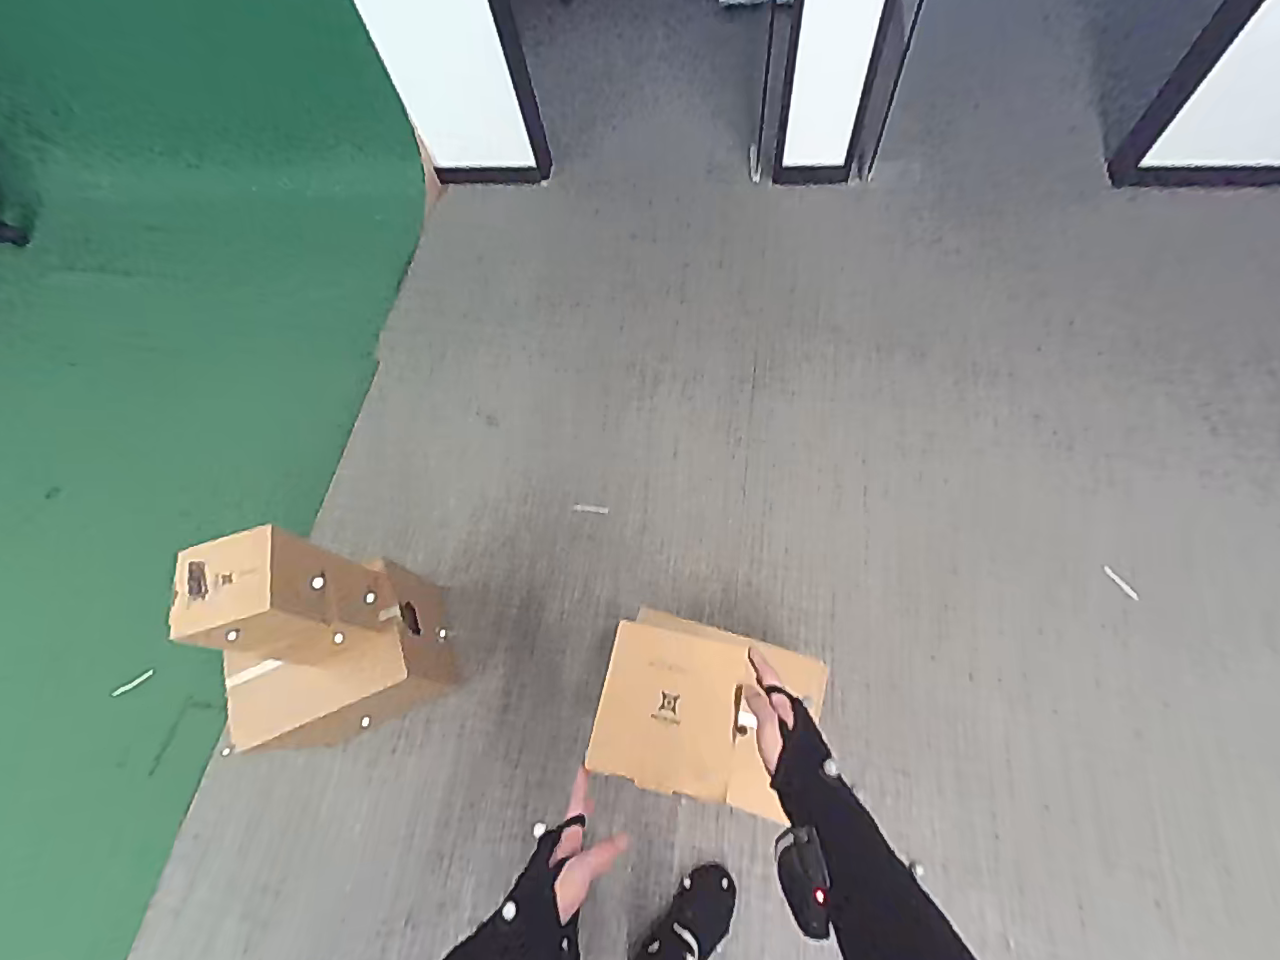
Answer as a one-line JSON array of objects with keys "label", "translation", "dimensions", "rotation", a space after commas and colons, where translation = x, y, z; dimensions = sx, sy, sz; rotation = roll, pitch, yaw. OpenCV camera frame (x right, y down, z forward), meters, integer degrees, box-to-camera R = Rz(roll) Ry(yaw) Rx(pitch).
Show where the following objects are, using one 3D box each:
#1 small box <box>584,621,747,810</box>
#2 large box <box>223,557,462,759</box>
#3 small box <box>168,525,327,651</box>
[{"label": "small box", "translation": [0.040, 0.305, 0.711], "dimensions": [0.168, 0.176, 0.179], "rotation": [11, 65, 10]}, {"label": "large box", "translation": [-0.728, 0.448, 1.358], "dimensions": [0.408, 0.320, 0.320], "rotation": [-24, 64, -4]}, {"label": "small box", "translation": [-0.722, 0.209, 1.014], "dimensions": [0.179, 0.176, 0.168], "rotation": [-17, 64, -2]}]
